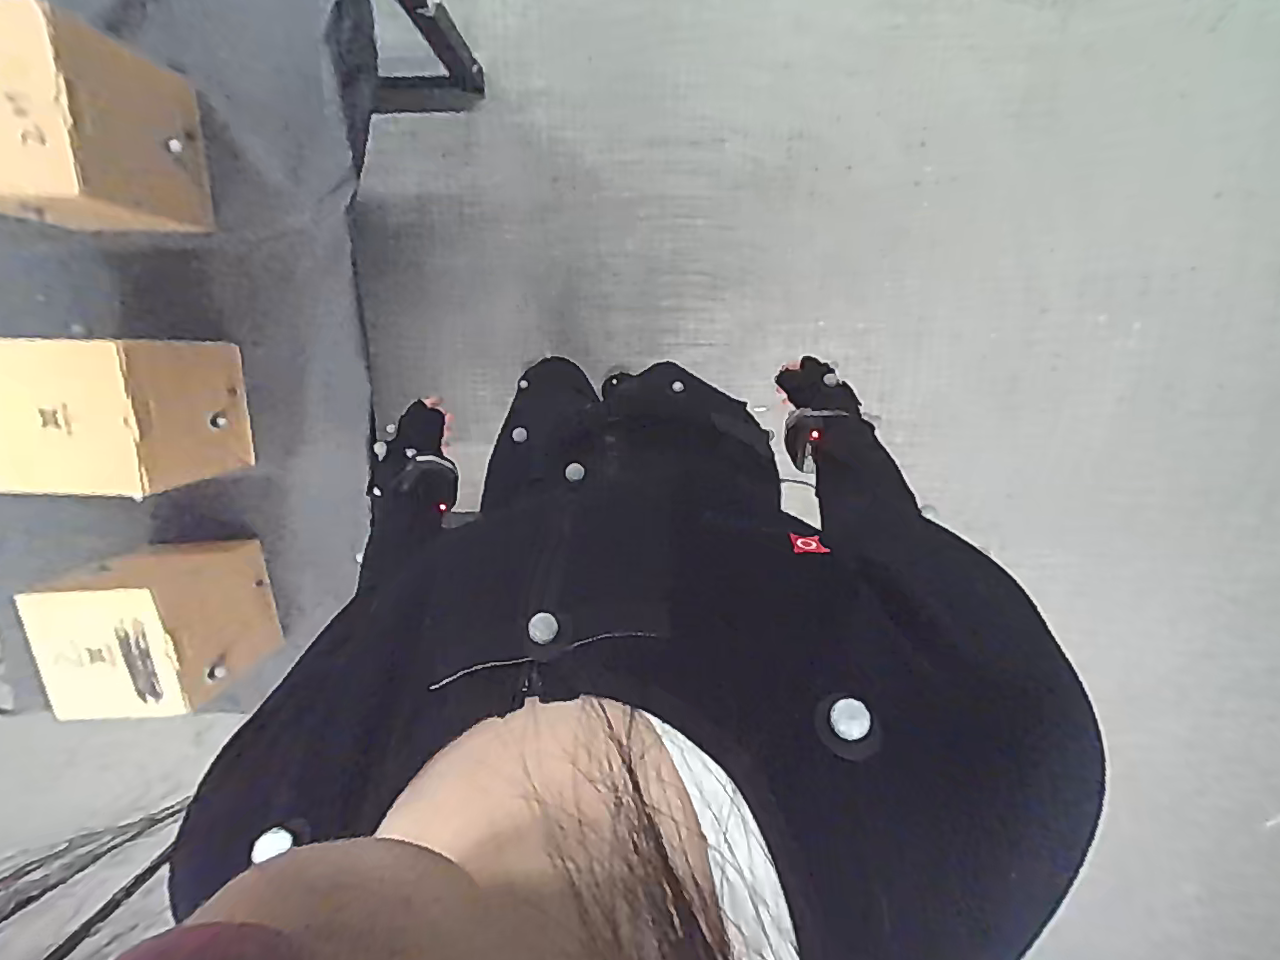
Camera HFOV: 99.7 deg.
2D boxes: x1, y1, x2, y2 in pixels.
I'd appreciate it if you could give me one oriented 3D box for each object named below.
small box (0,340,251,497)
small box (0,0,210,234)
[{"bbox_3d":[-0.620,-0.080,0.651,0.179,0.176,0.168,1,103,0],"label":"small box"},{"bbox_3d":[-0.620,-0.369,0.580,0.179,0.176,0.168,1,104,0],"label":"small box"}]
